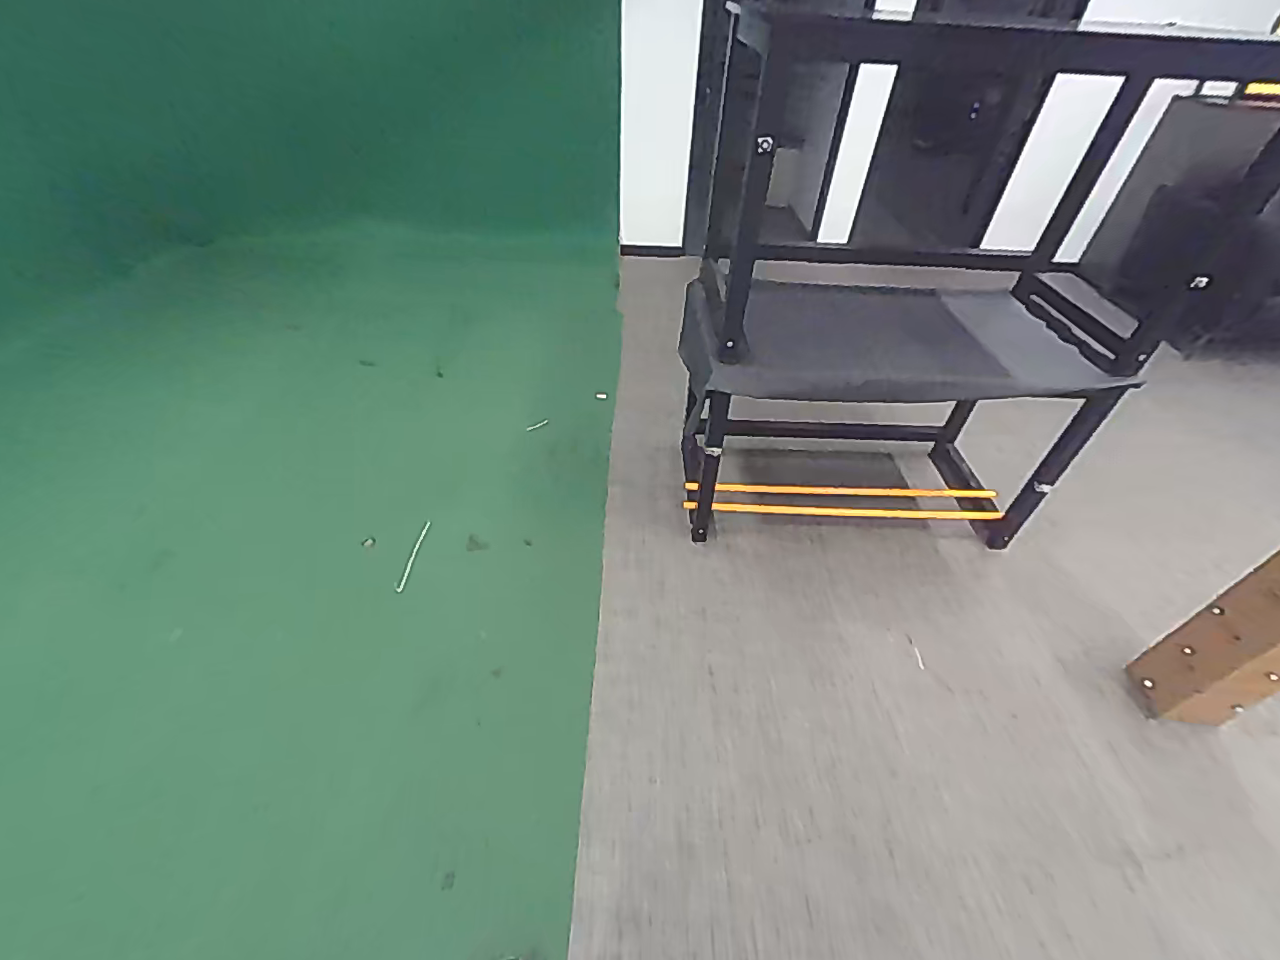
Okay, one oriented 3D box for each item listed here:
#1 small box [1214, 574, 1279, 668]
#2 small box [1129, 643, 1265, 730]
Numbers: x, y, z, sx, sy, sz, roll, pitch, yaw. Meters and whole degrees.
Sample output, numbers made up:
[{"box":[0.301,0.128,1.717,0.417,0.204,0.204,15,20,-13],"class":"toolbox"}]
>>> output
[{"box":[1.583,0.350,1.320,0.179,0.176,0.168,4,43,1],"class":"small box"},{"box":[1.571,0.591,1.540,0.179,0.176,0.168,5,42,3],"class":"small box"}]
